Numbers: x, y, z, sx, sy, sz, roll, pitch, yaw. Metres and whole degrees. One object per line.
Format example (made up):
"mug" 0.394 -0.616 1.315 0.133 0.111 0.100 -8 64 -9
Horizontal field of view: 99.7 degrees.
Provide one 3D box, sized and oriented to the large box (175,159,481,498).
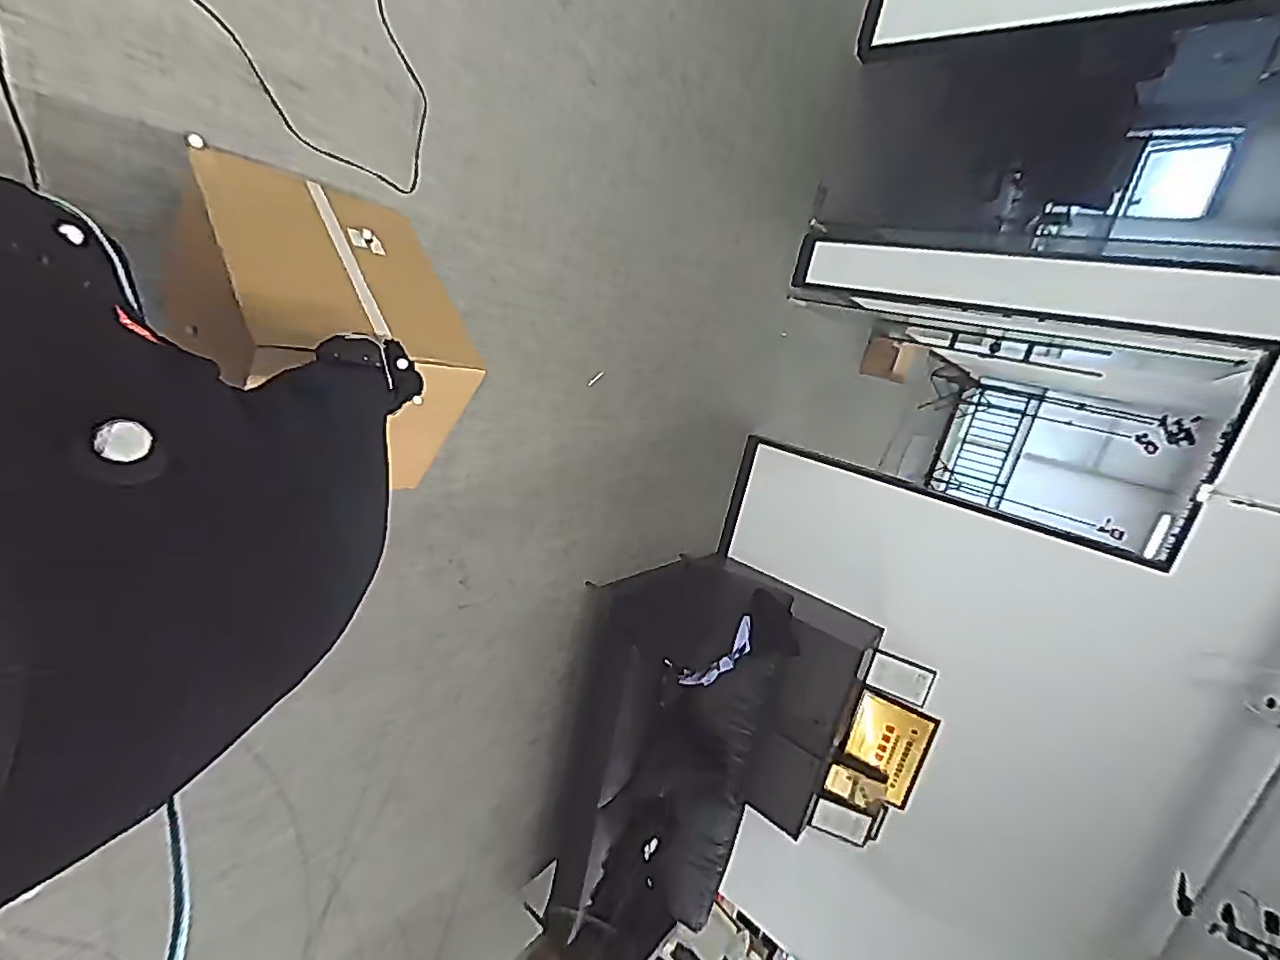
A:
"large box" -0.533 -0.228 0.903 0.320 0.408 0.320 -6 147 -49
